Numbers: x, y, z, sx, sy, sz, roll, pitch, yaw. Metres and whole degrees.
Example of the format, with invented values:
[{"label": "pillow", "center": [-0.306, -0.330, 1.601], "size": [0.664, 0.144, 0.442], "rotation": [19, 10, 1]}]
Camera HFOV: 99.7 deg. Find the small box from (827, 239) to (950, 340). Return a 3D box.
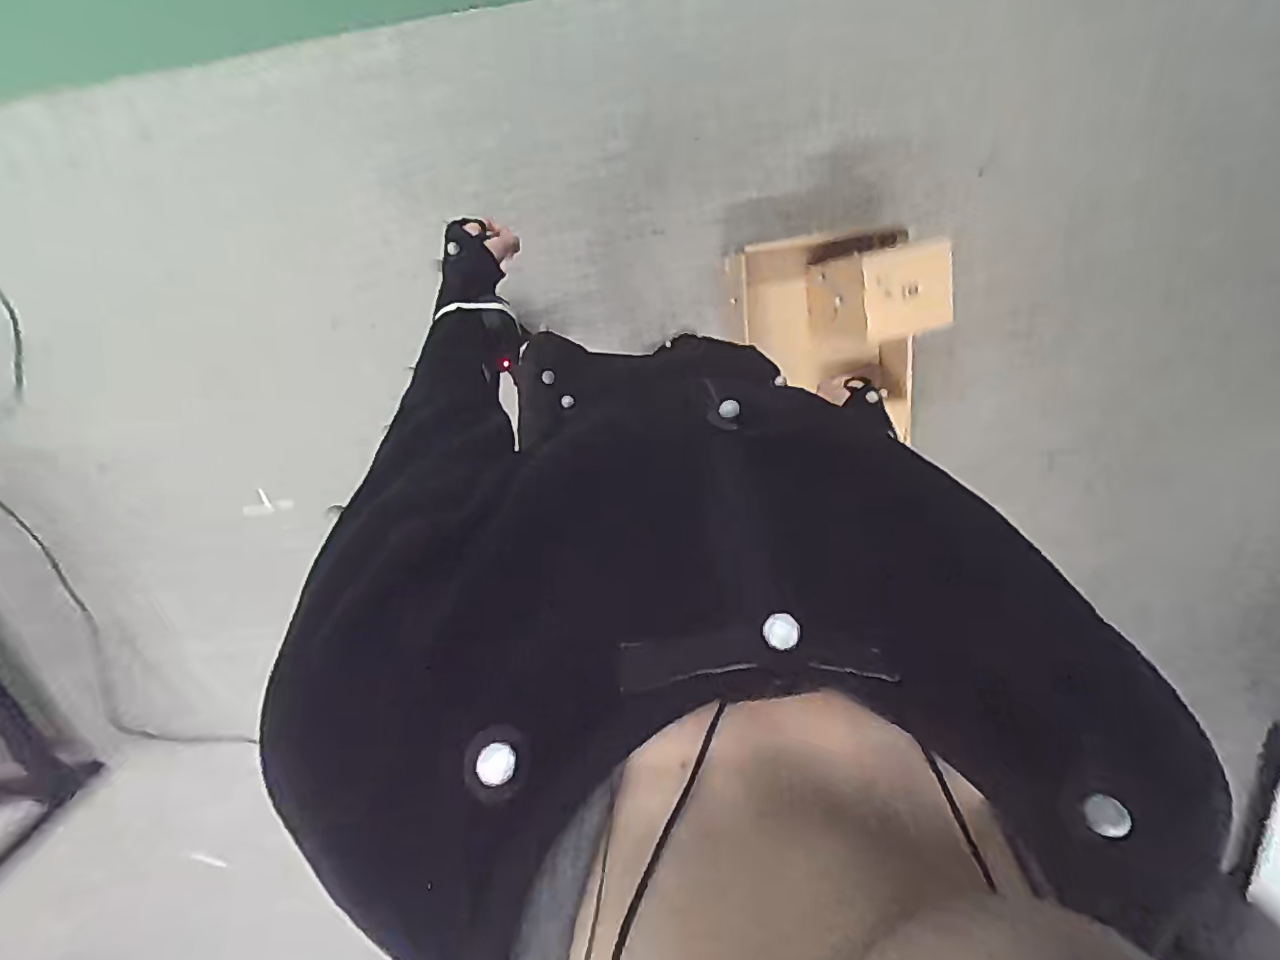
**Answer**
[{"label": "small box", "center": [0.507, -0.392, 1.117], "size": [0.179, 0.176, 0.168], "rotation": [-10, 109, 1]}]
